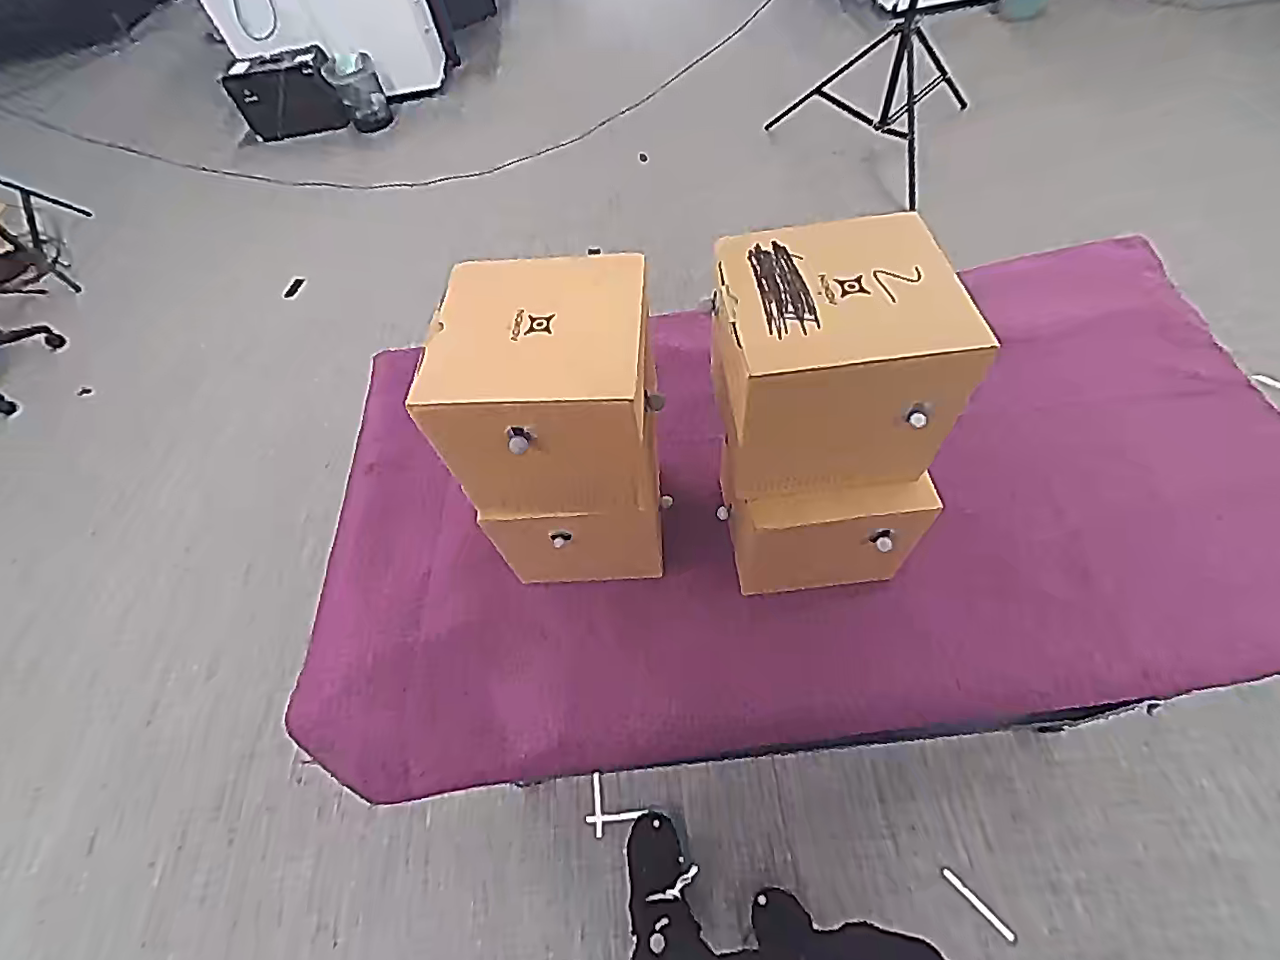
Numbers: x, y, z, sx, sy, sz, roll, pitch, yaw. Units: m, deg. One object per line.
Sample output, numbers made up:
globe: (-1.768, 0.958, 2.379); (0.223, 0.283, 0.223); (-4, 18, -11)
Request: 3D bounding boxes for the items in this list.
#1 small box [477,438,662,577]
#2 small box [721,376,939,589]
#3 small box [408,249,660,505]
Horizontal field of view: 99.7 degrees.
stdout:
small box: (-0.068, 0.006, 0.635); (0.179, 0.176, 0.168); (-3, 57, 4)
small box: (0.190, 0.009, 0.603); (0.179, 0.176, 0.168); (-7, 56, 3)
small box: (-0.074, -0.086, 0.500); (0.179, 0.176, 0.168); (-1, 57, 7)
